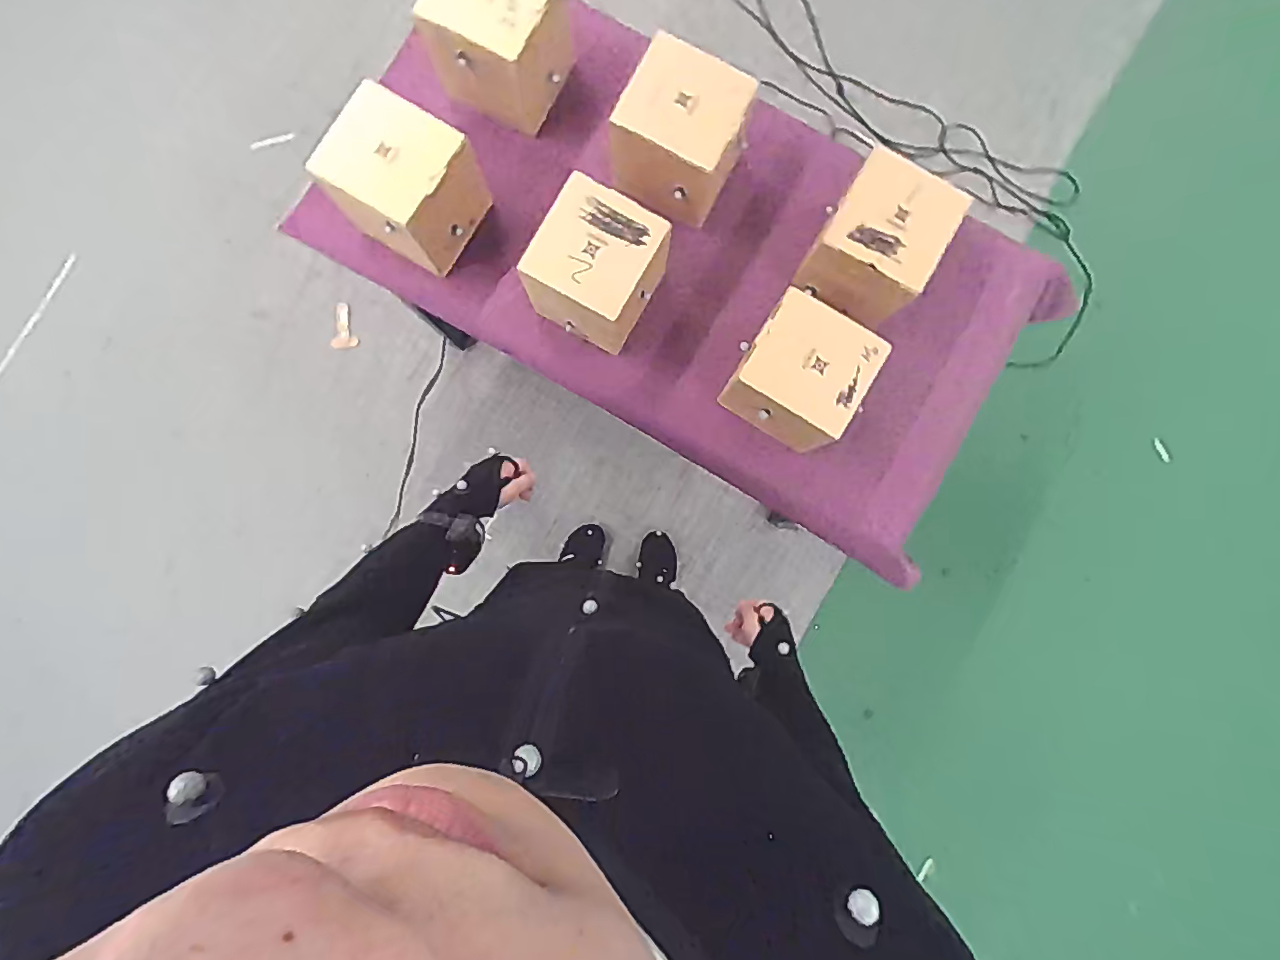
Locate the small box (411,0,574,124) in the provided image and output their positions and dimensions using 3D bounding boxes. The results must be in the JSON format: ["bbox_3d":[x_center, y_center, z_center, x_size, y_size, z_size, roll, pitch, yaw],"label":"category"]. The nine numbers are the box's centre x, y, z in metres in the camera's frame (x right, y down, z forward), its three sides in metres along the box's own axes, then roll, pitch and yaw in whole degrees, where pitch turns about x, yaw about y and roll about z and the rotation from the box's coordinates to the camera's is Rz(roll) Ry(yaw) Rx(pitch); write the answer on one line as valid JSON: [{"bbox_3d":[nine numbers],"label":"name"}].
[{"bbox_3d":[-0.225,-0.726,0.871,0.179,0.176,0.168,27,88,0],"label":"small box"}]

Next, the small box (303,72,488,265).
[{"bbox_3d":[-0.371,-0.476,0.857,0.179,0.176,0.168,31,86,0],"label":"small box"}]

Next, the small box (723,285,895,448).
[{"bbox_3d":[0.249,-0.164,0.849,0.179,0.176,0.168,32,87,2],"label":"small box"}]

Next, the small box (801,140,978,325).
[{"bbox_3d":[0.380,-0.378,0.862,0.168,0.176,0.179,31,87,1],"label":"small box"}]

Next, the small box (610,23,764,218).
[{"bbox_3d":[0.069,-0.558,0.869,0.179,0.176,0.168,29,87,1],"label":"small box"}]
